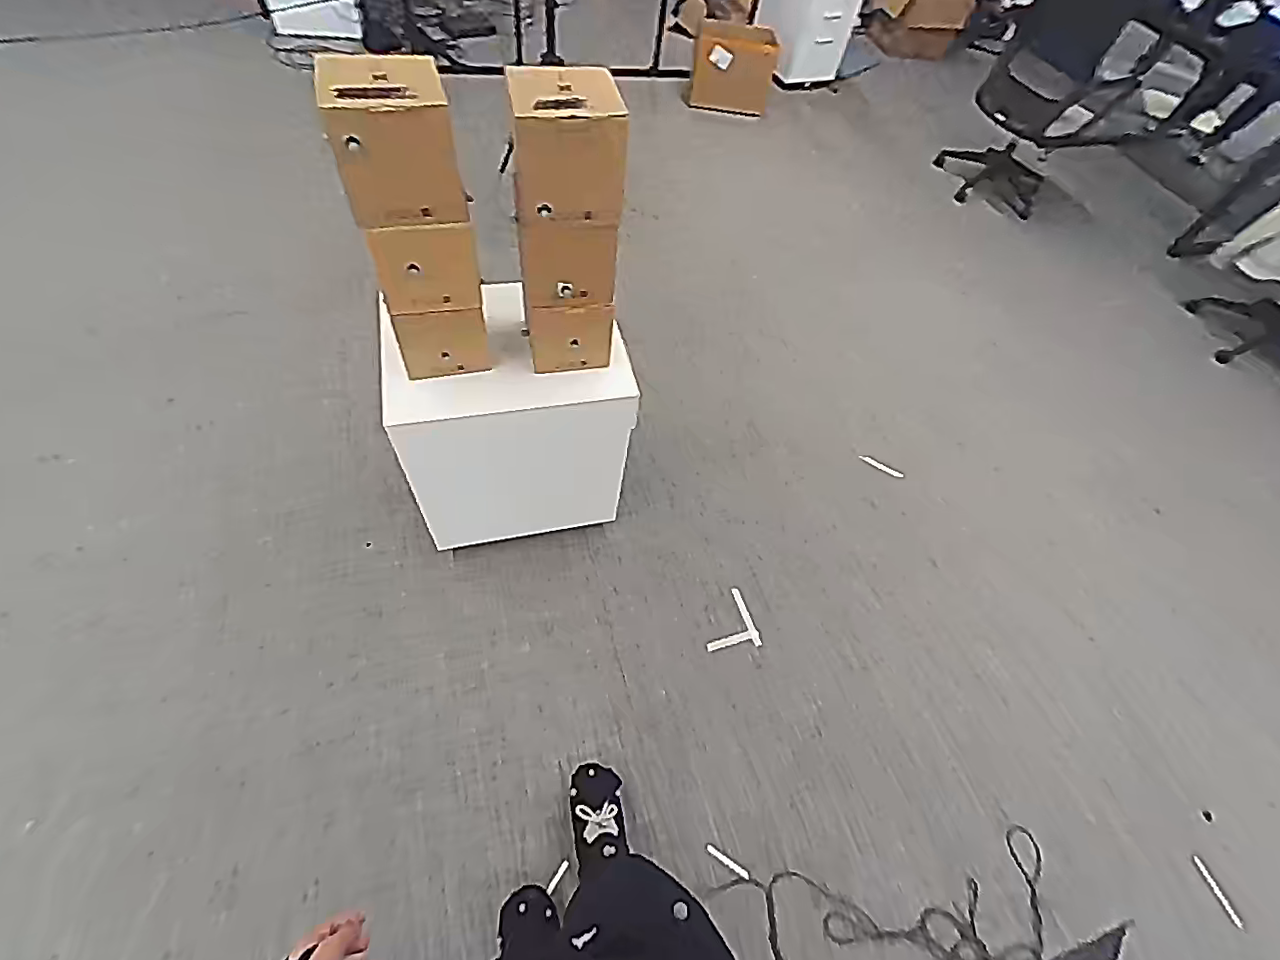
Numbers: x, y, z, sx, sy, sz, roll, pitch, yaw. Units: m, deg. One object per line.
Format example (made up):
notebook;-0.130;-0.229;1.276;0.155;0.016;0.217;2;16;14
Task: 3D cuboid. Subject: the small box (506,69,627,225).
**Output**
small box;-0.120;-0.534;0.878;0.168;0.176;0.179;-8;57;-11

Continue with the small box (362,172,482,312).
small box;-0.381;-0.415;0.961;0.168;0.176;0.179;-10;58;-15

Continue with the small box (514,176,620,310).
small box;-0.139;-0.446;1.016;0.168;0.176;0.179;-9;59;-12

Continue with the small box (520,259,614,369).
small box;-0.156;-0.350;1.146;0.168;0.176;0.179;-9;60;-14
